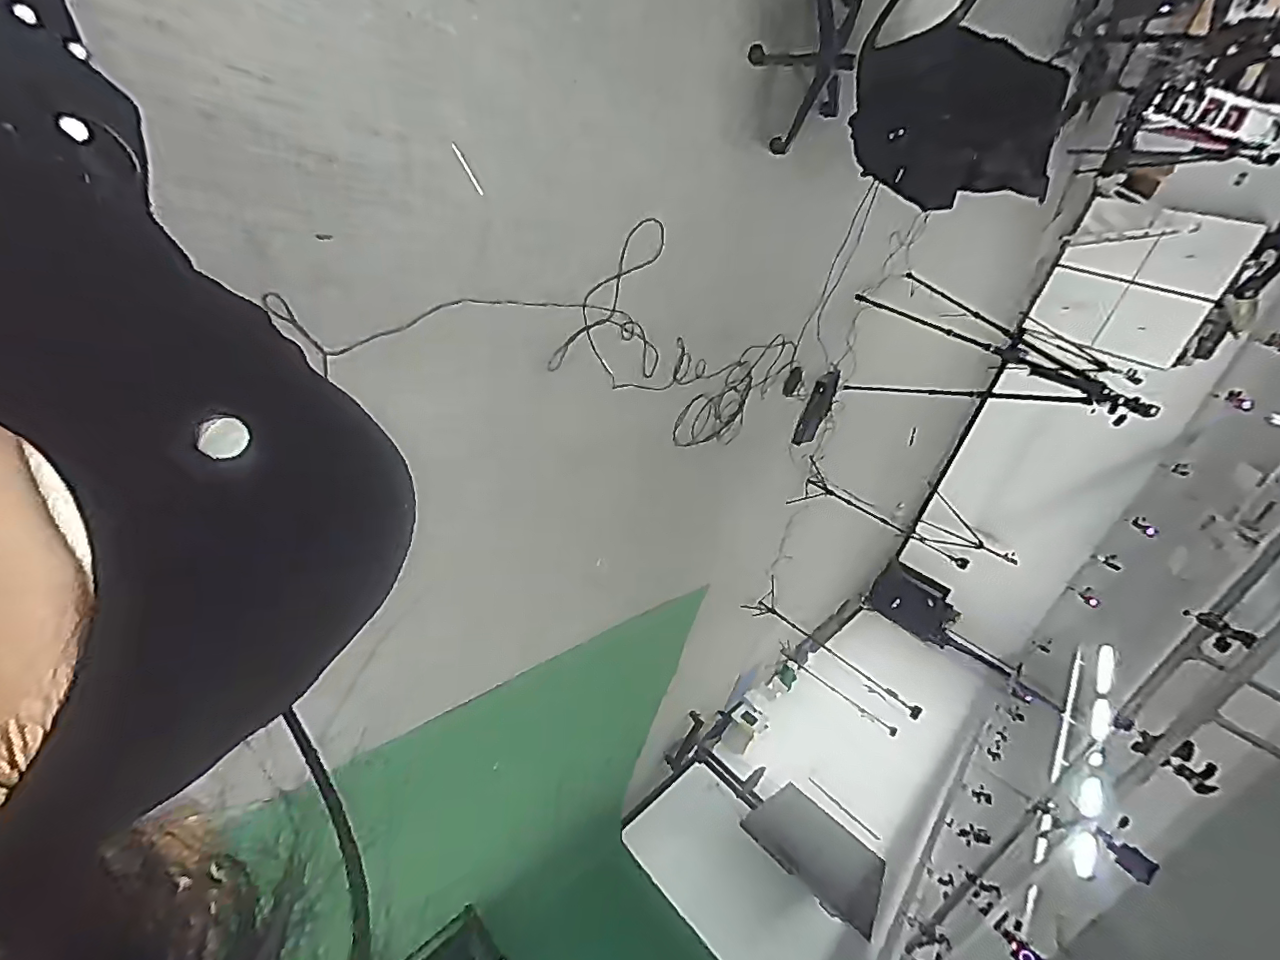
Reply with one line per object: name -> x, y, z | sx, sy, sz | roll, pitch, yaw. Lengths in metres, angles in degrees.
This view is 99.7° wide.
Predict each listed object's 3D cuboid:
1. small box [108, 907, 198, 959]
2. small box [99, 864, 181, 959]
small box -> -1.380, 1.384, 1.542 | 0.168, 0.176, 0.179 | -16, 127, -43
small box -> -1.502, 1.322, 1.635 | 0.168, 0.176, 0.179 | -14, 126, -44
